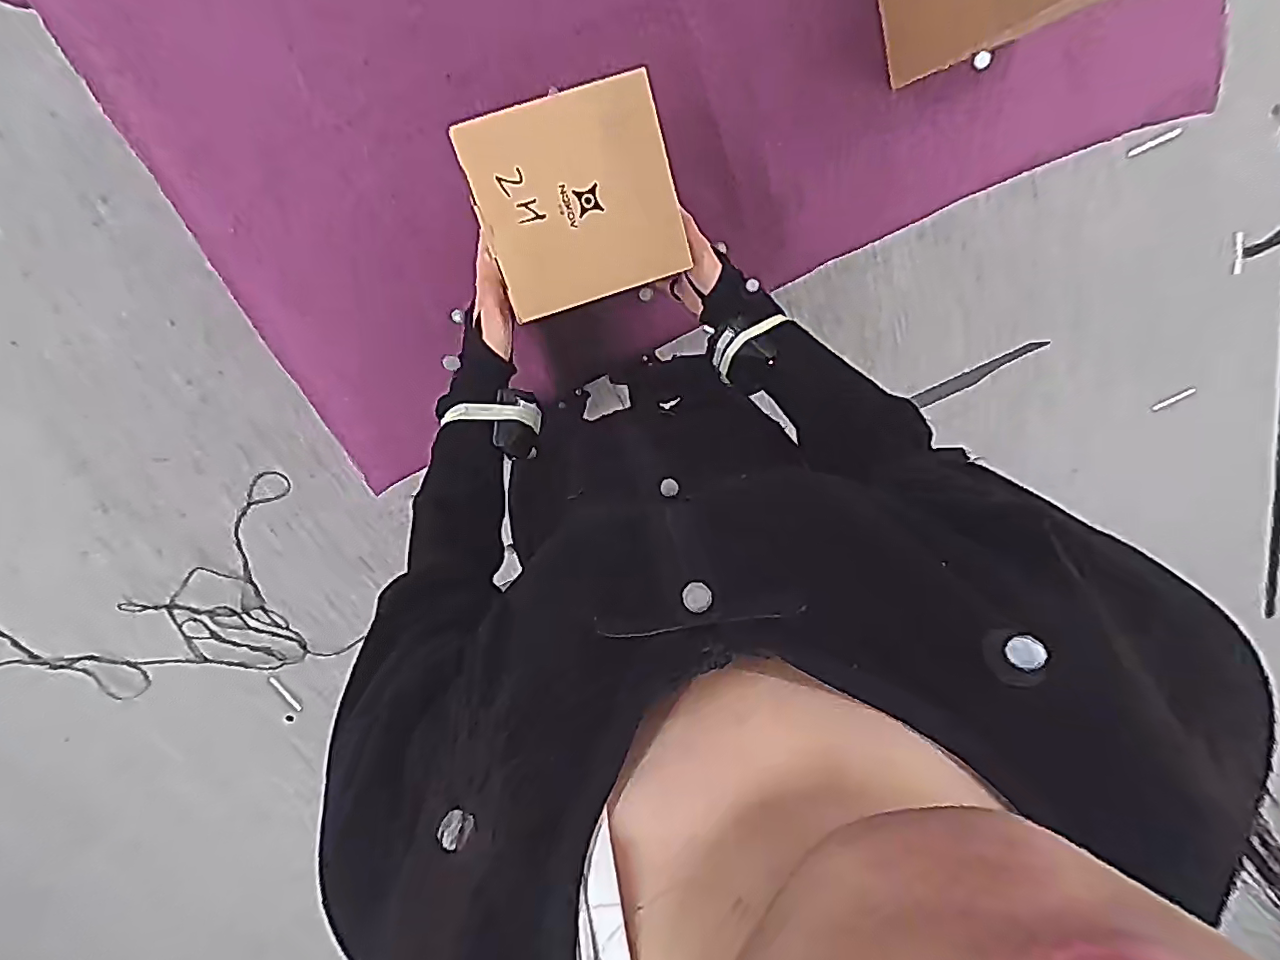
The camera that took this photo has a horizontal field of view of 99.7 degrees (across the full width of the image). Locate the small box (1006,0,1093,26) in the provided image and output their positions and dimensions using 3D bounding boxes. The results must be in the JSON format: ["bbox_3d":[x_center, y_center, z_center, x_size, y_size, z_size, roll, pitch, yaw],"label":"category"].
[{"bbox_3d":[0.384,-0.478,0.379,0.168,0.176,0.179,-21,112,-1],"label":"small box"}]

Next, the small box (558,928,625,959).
[{"bbox_3d":[-0.150,1.554,1.694,0.179,0.176,0.168,22,104,-16],"label":"small box"}]

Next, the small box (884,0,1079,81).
[{"bbox_3d":[0.355,-0.539,0.528,0.168,0.176,0.179,-23,113,0],"label":"small box"}]

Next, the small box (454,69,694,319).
[{"bbox_3d":[-0.063,-0.274,0.550,0.179,0.176,0.168,-18,111,-1],"label":"small box"}]
